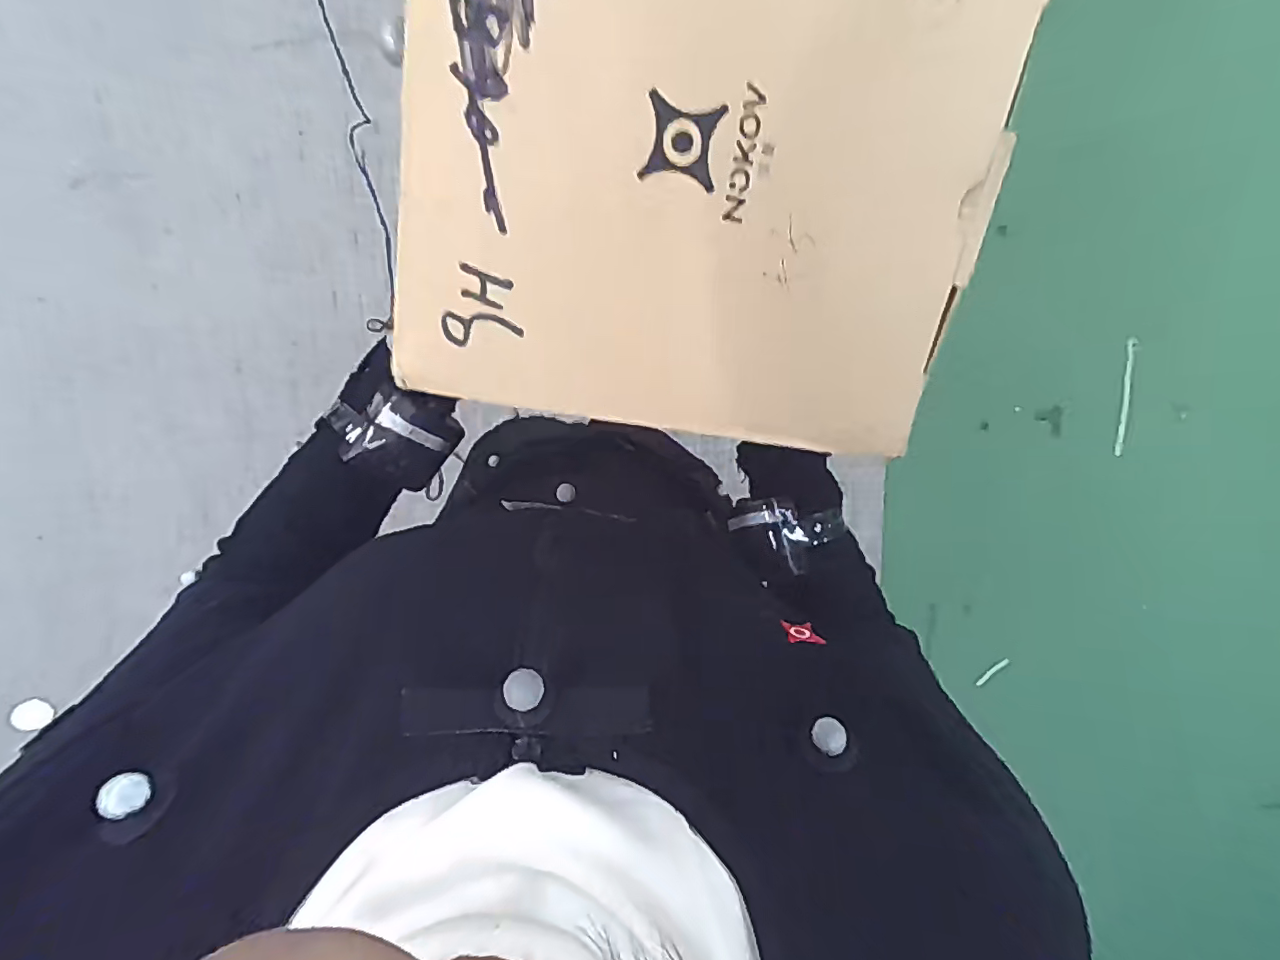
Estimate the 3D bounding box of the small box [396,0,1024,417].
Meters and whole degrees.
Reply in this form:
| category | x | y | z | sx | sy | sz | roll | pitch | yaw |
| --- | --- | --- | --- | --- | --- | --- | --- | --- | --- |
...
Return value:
| category | x | y | z | sx | sy | sz | roll | pitch | yaw |
| --- | --- | --- | --- | --- | --- | --- | --- | --- | --- |
| small box | 0.013 | -0.134 | 0.236 | 0.179 | 0.176 | 0.168 | 8 | 106 | -7 |
